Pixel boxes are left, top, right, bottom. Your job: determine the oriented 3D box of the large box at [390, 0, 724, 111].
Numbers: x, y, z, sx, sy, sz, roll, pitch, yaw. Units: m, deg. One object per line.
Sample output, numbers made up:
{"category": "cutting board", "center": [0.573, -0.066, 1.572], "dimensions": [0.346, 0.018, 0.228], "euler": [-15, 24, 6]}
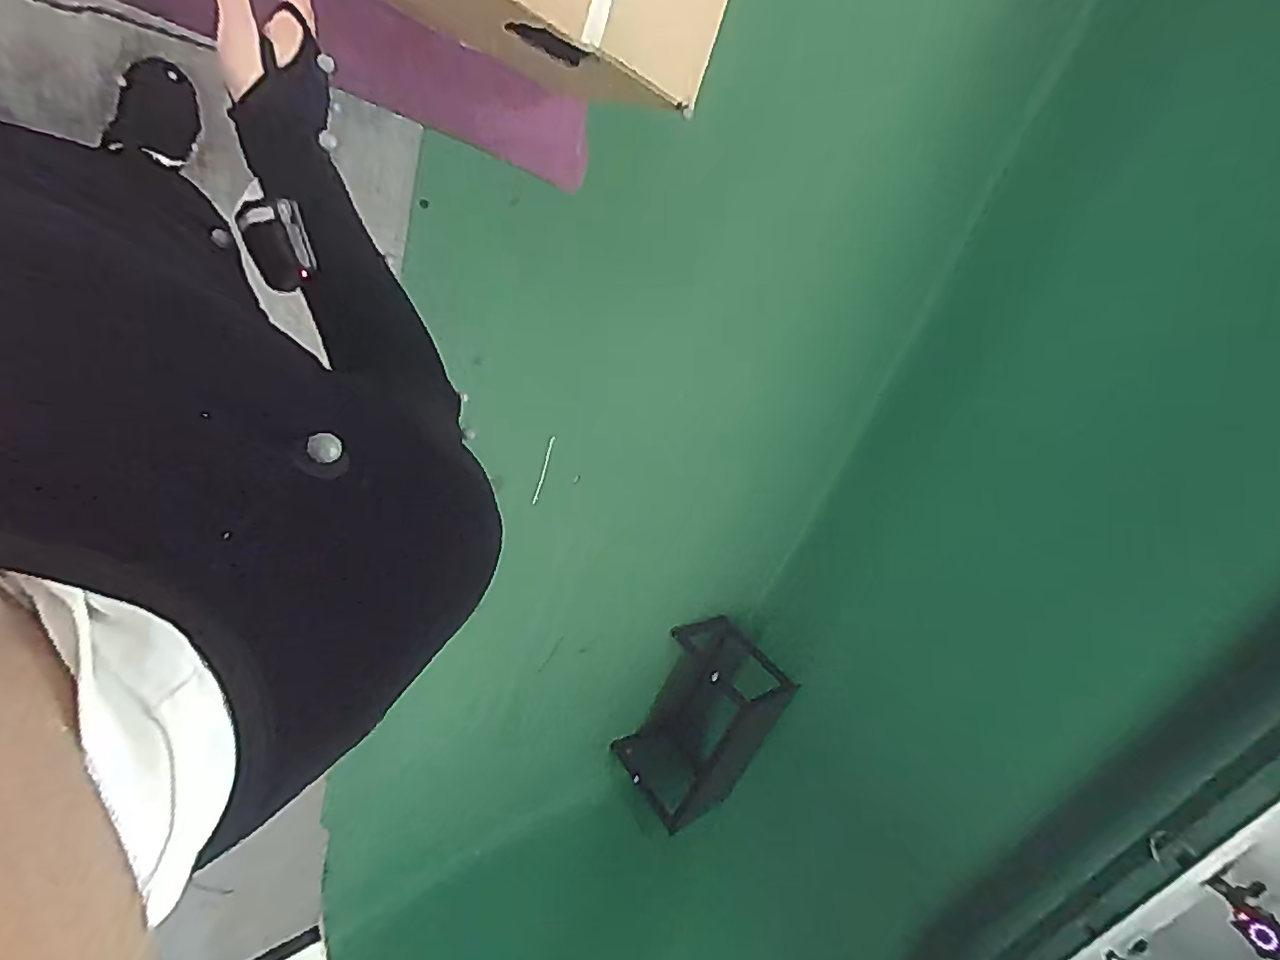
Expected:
{"category": "large box", "center": [-0.080, -0.675, 0.545], "dimensions": [0.320, 0.320, 0.408], "euler": [-3, 124, -42]}
